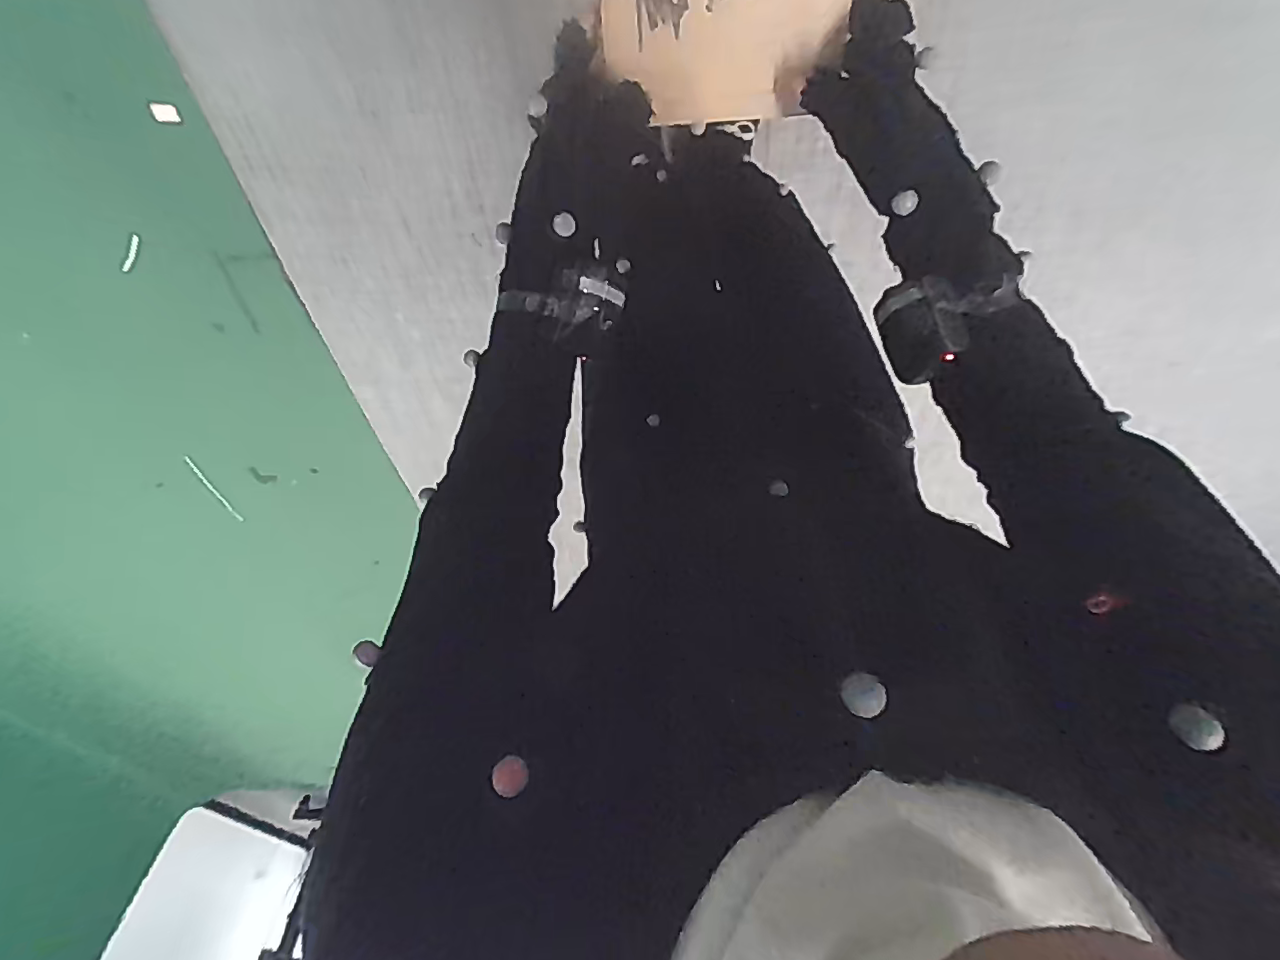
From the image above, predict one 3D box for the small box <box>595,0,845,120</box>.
[{"bbox_3d":[0.054,-0.394,0.426,0.179,0.176,0.168,-3,131,1],"label":"small box"}]
